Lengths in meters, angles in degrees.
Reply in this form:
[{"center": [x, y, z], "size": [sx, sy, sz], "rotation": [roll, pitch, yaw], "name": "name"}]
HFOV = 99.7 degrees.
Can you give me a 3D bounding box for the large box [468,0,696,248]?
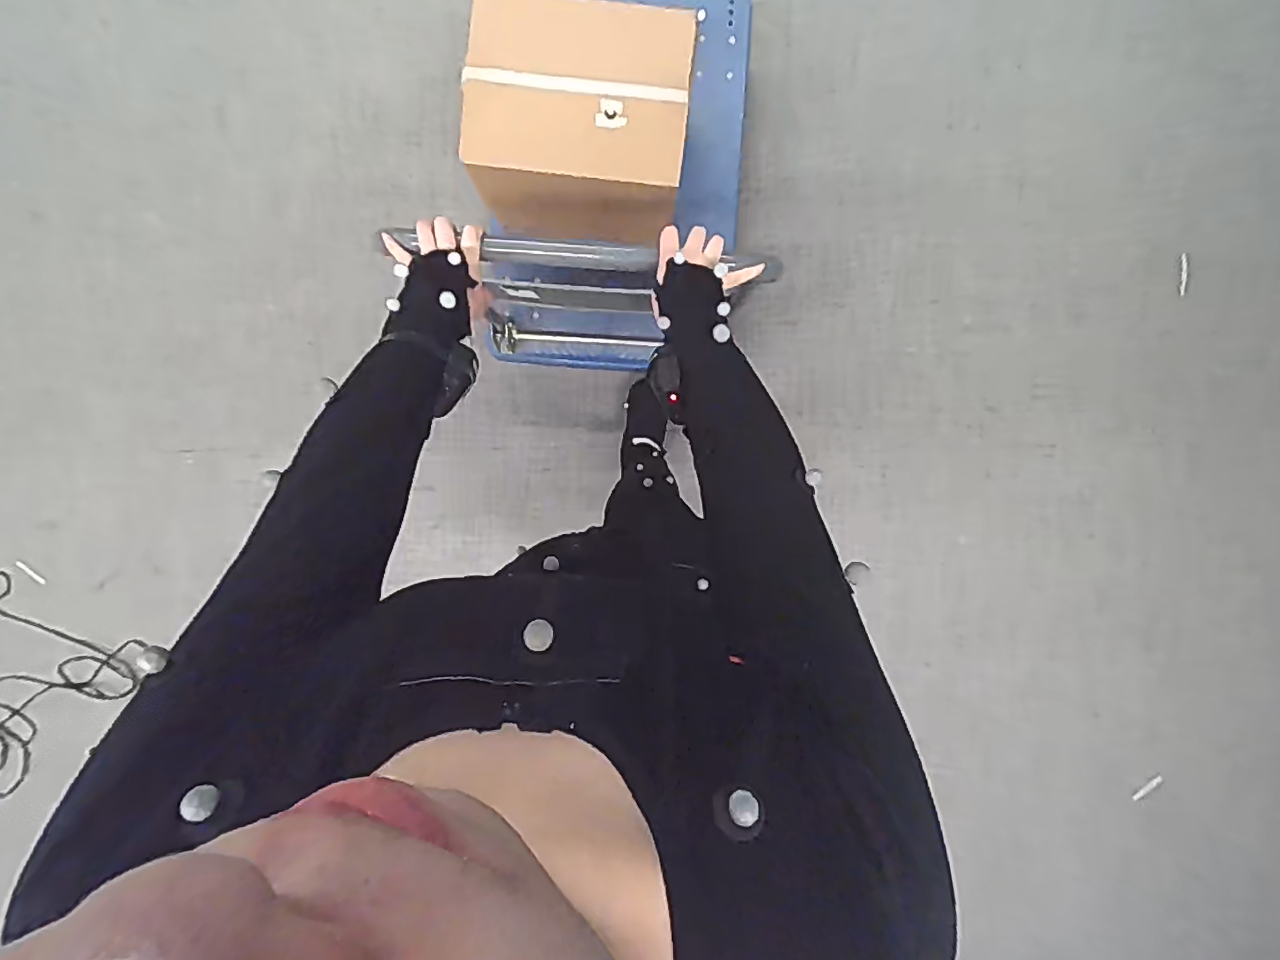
[{"center": [-0.112, -0.718, 1.142], "size": [0.408, 0.320, 0.320], "rotation": [6, 92, -1], "name": "large box"}]
